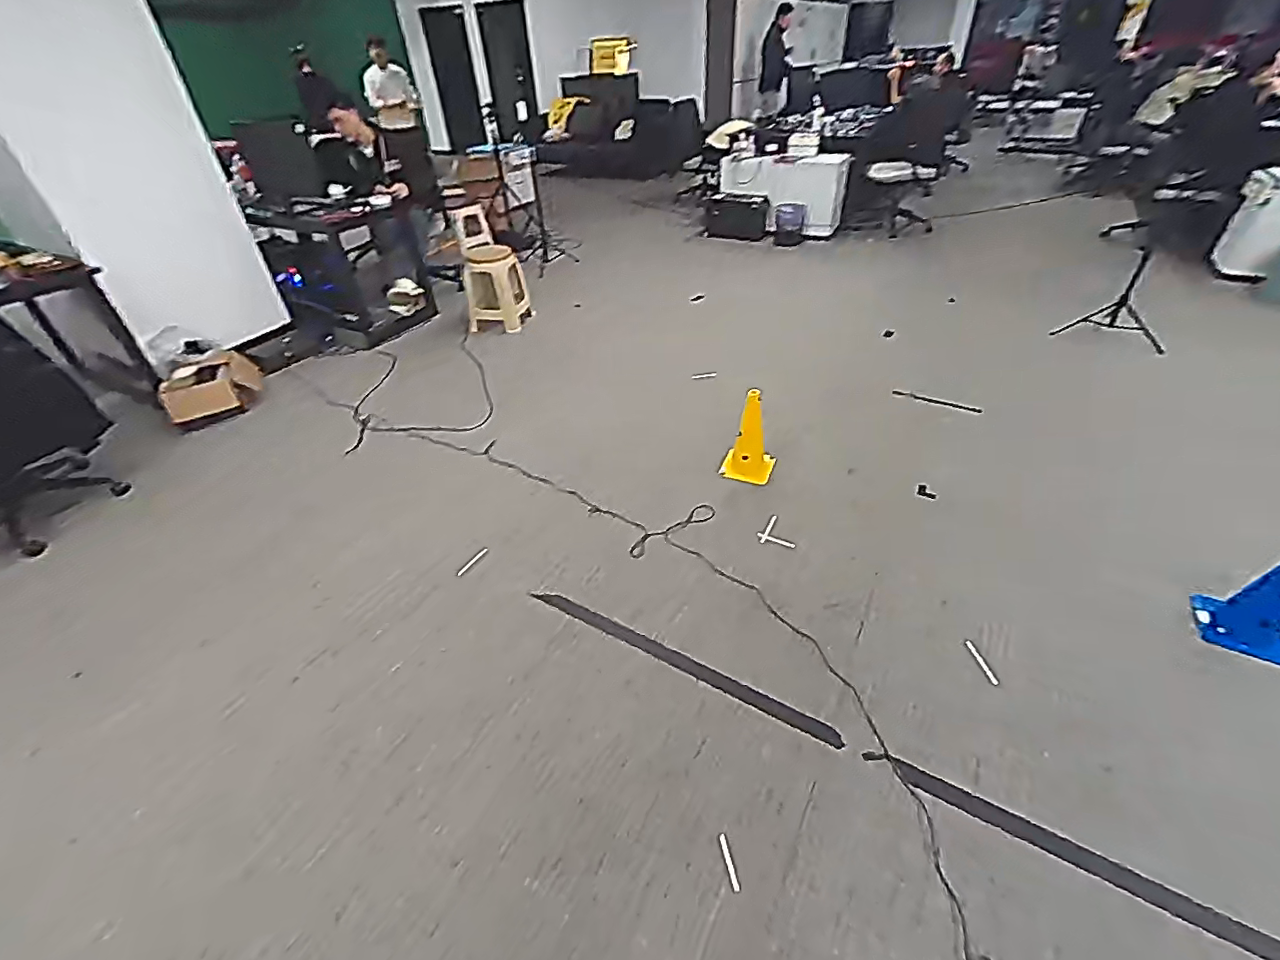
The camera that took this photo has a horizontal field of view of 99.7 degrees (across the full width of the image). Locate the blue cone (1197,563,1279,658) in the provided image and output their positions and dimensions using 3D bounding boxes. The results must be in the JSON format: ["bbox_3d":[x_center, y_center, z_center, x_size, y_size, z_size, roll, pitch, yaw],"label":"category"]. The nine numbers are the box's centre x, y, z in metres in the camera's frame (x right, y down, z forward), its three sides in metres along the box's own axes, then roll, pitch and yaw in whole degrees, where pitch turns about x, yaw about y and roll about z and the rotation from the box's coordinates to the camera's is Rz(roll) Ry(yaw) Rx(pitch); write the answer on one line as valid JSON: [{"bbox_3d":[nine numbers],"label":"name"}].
[{"bbox_3d":[1.732,0.287,1.453,0.193,0.380,0.192,19,43,26],"label":"blue cone"}]
